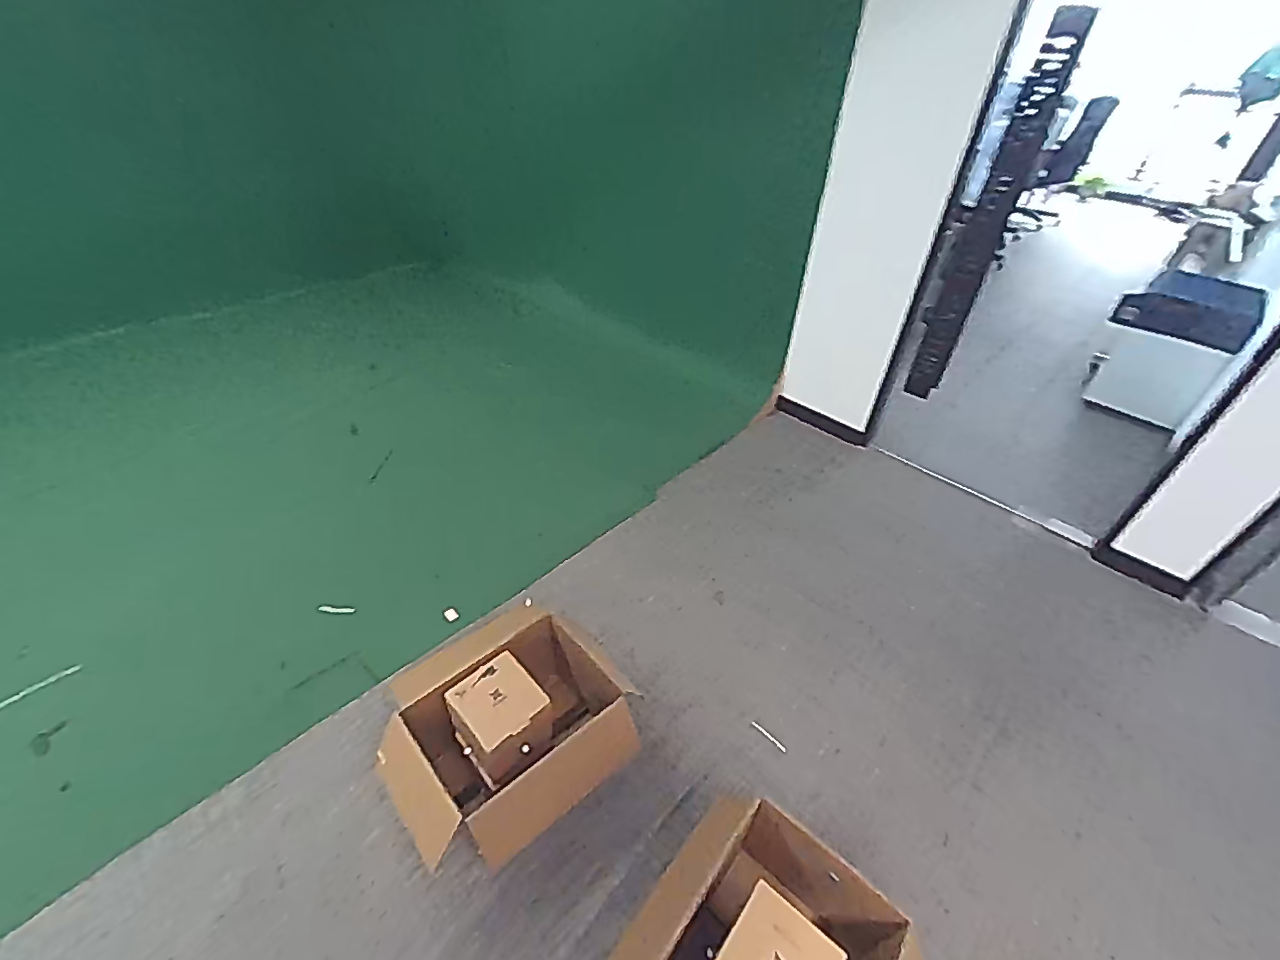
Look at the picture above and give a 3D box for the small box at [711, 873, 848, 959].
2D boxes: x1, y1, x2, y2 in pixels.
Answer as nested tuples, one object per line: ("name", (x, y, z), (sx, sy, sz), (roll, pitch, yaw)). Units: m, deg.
("small box", (0.223, 0.830, 0.921), (0.168, 0.176, 0.179), (30, 50, 27))
